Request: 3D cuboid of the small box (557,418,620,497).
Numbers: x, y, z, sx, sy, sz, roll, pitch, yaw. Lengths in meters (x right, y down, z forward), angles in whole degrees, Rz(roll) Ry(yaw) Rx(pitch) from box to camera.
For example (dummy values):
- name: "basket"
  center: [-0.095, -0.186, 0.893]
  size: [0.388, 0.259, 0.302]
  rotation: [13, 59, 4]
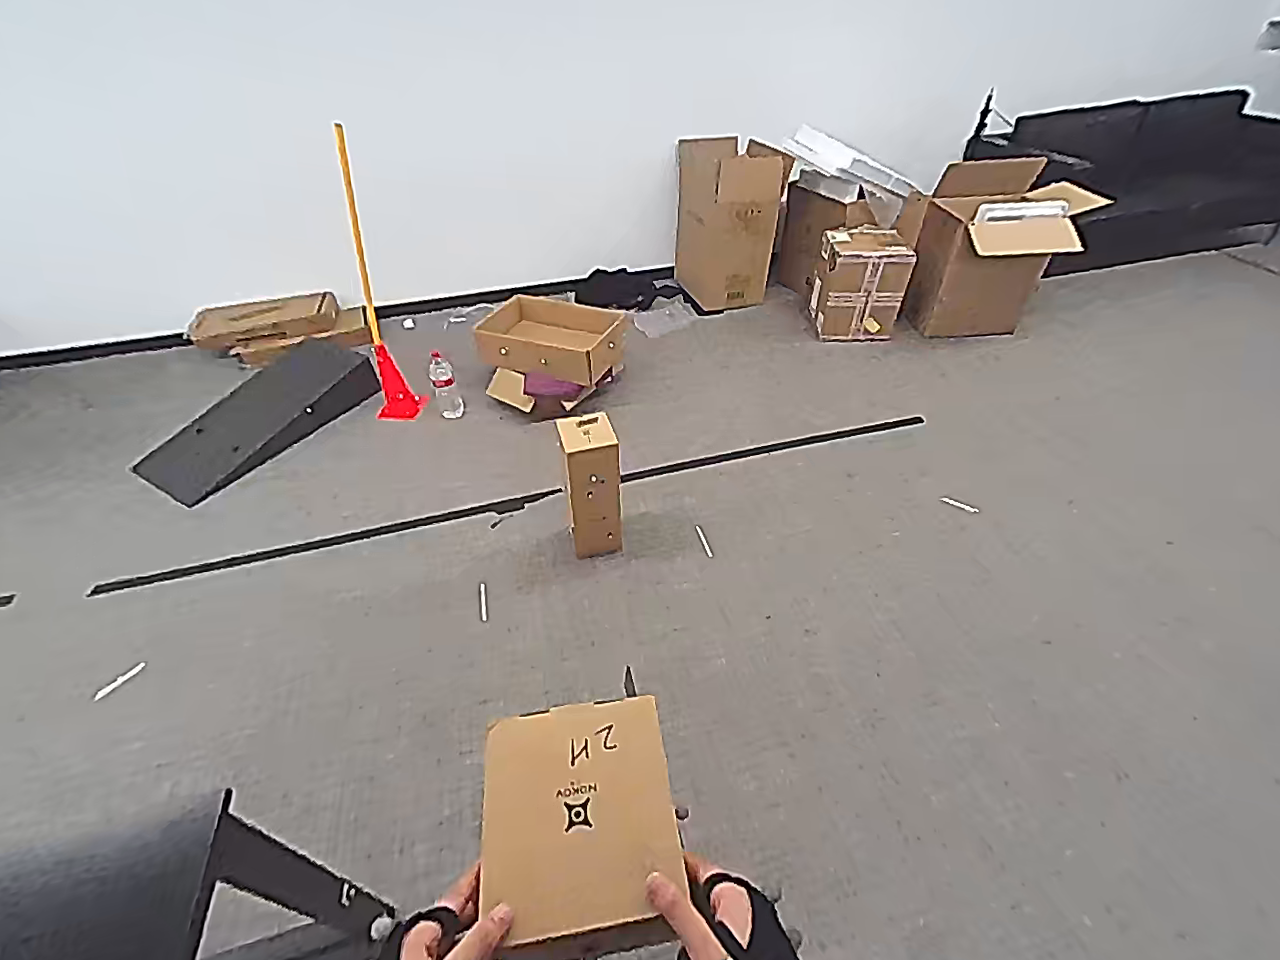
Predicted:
- name: "small box"
  center: [-0.166, -0.071, 1.744]
  size: [0.168, 0.176, 0.179]
  rotation: [-13, 43, -12]

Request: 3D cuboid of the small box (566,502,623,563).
- name: "small box"
  center: [-0.163, 0.175, 1.962]
  size: [0.179, 0.176, 0.168]
  rotation: [-13, 42, -10]

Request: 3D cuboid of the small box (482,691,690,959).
- name: "small box"
  center: [-0.048, 0.338, 0.527]
  size: [0.168, 0.176, 0.179]
  rotation: [-8, 43, -6]

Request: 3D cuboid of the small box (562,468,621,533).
- name: "small box"
  center: [-0.166, 0.053, 1.852]
  size: [0.168, 0.176, 0.179]
  rotation: [-13, 42, -12]
